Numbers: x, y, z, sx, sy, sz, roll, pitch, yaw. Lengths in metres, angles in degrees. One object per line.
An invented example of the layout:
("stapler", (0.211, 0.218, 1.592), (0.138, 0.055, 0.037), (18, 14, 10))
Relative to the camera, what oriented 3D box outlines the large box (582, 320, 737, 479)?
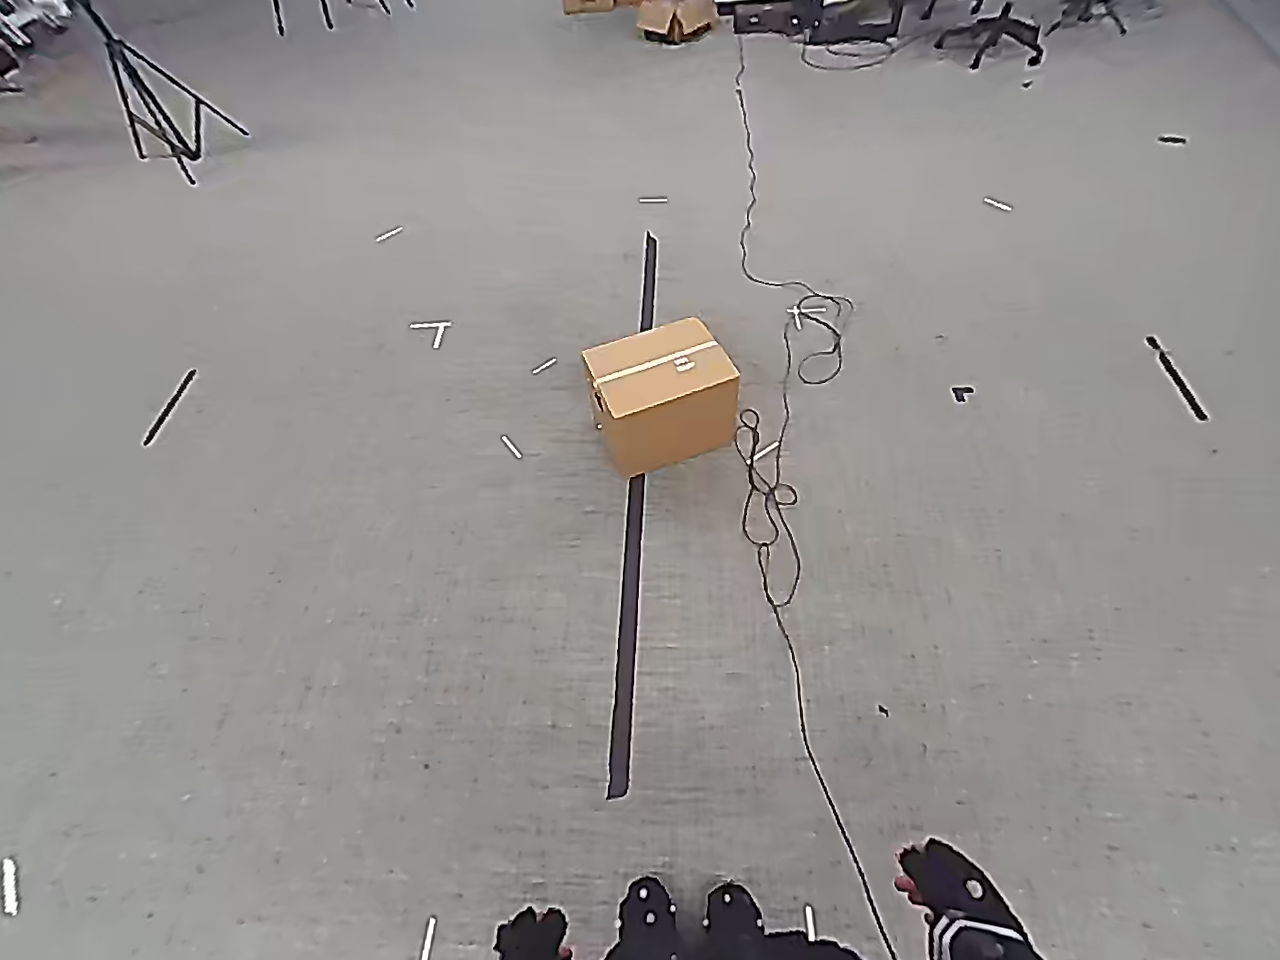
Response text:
("large box", (0.061, -0.262, 1.779), (0.408, 0.320, 0.320), (-20, 56, -10))
